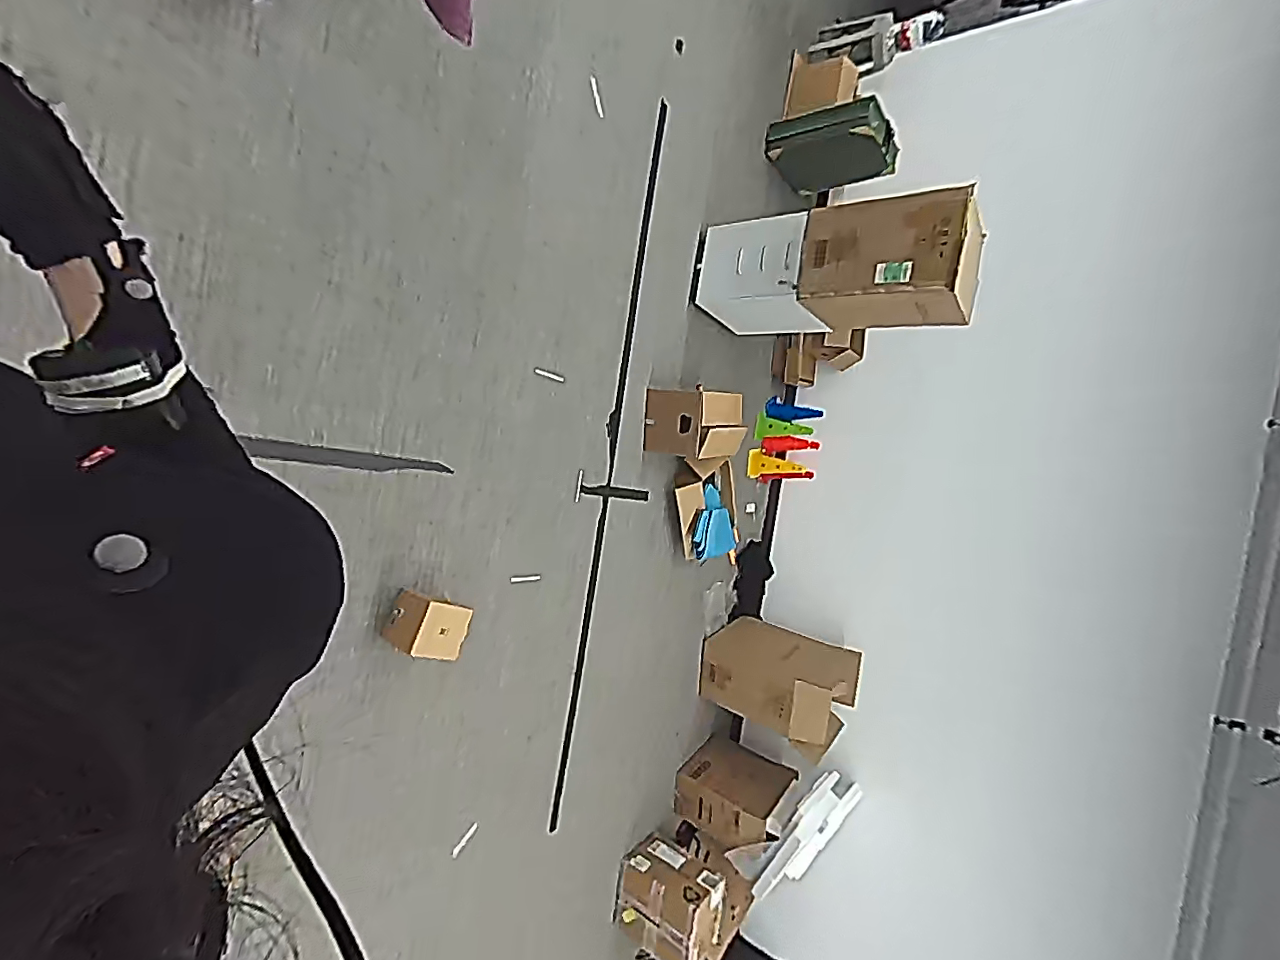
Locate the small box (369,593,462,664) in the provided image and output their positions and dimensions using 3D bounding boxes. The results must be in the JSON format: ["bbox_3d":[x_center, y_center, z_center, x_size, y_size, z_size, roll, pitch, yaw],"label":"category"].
[{"bbox_3d":[-0.698,0.460,1.687,0.179,0.176,0.168,34,69,-52],"label":"small box"}]
